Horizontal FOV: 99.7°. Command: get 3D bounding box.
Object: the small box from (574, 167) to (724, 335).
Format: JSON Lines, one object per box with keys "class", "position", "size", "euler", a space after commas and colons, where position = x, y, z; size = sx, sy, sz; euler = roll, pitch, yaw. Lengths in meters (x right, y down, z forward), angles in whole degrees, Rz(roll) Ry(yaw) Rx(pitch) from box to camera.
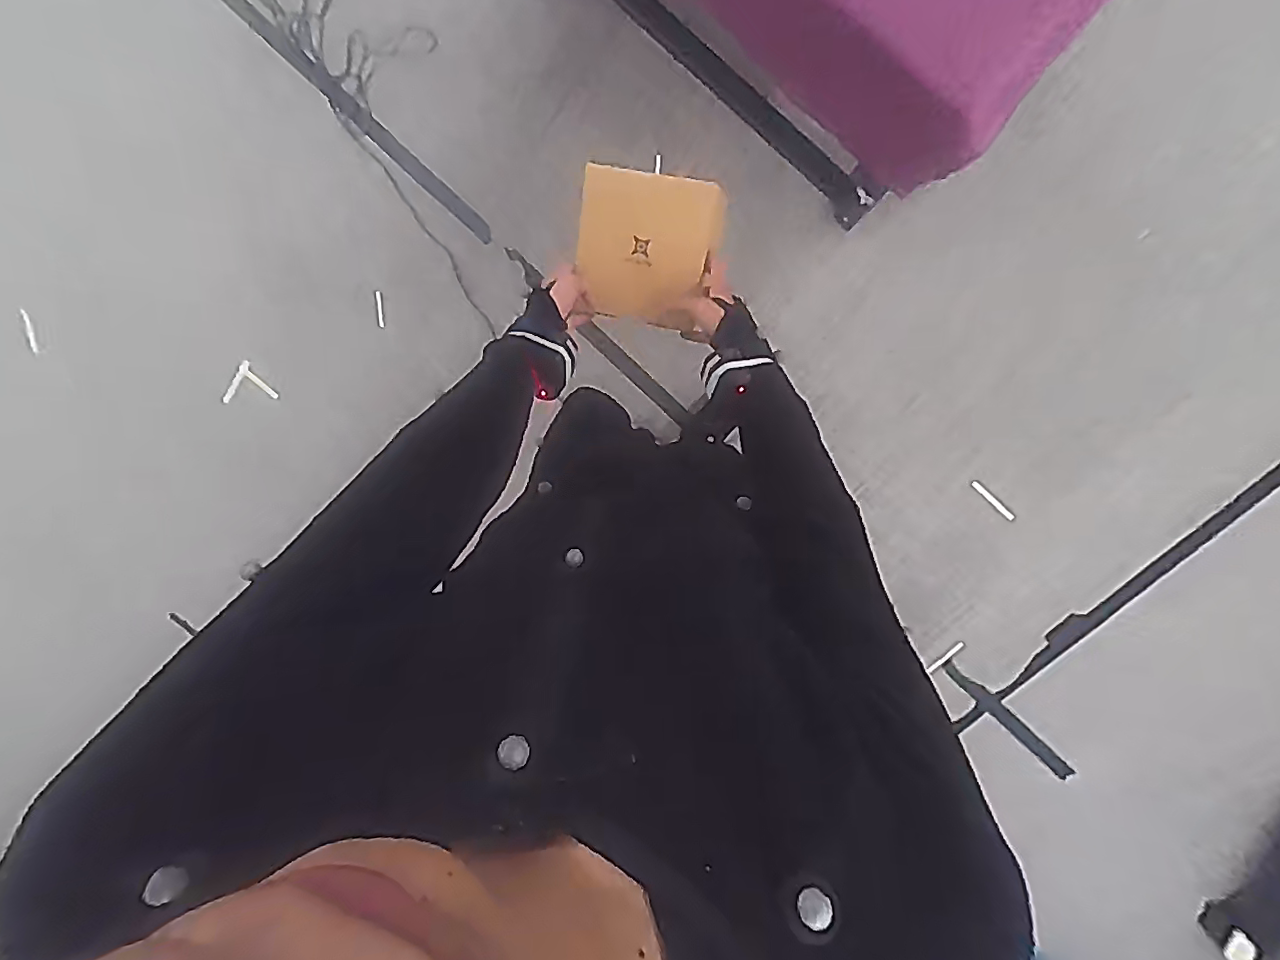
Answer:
{"class": "small box", "position": [0.019, -0.316, 0.756], "size": [0.168, 0.176, 0.179], "euler": [13, 115, 8]}
